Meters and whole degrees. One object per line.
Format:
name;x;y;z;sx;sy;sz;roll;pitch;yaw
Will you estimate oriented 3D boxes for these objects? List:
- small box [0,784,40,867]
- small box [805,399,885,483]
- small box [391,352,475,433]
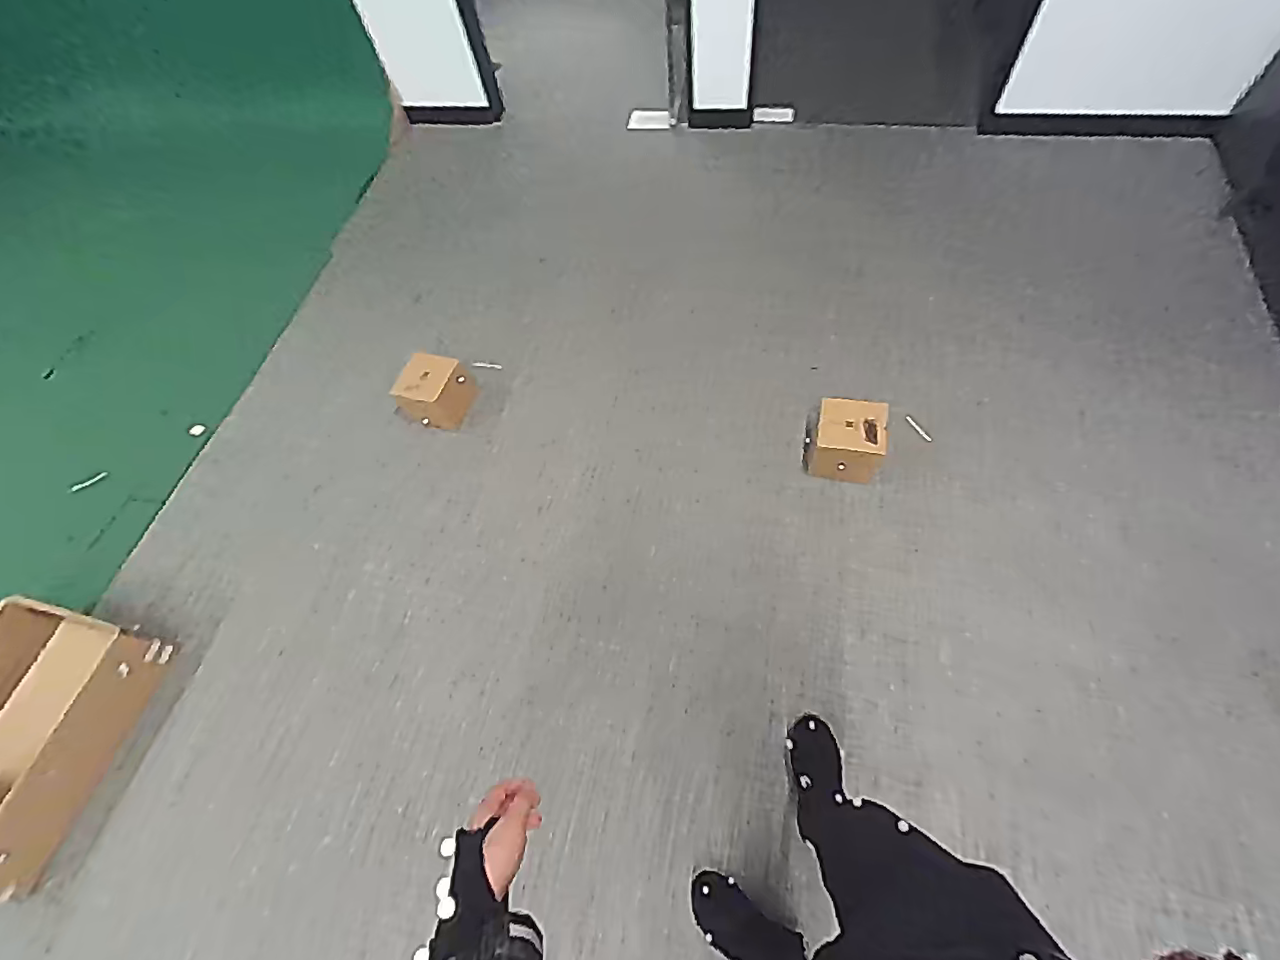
small box;-1.563;0.795;1.227;0.179;0.176;0.168;8;64;8
small box;0.577;-0.105;1.532;0.179;0.176;0.168;9;64;12
small box;-0.661;-0.282;1.756;0.168;0.176;0.179;13;65;13
